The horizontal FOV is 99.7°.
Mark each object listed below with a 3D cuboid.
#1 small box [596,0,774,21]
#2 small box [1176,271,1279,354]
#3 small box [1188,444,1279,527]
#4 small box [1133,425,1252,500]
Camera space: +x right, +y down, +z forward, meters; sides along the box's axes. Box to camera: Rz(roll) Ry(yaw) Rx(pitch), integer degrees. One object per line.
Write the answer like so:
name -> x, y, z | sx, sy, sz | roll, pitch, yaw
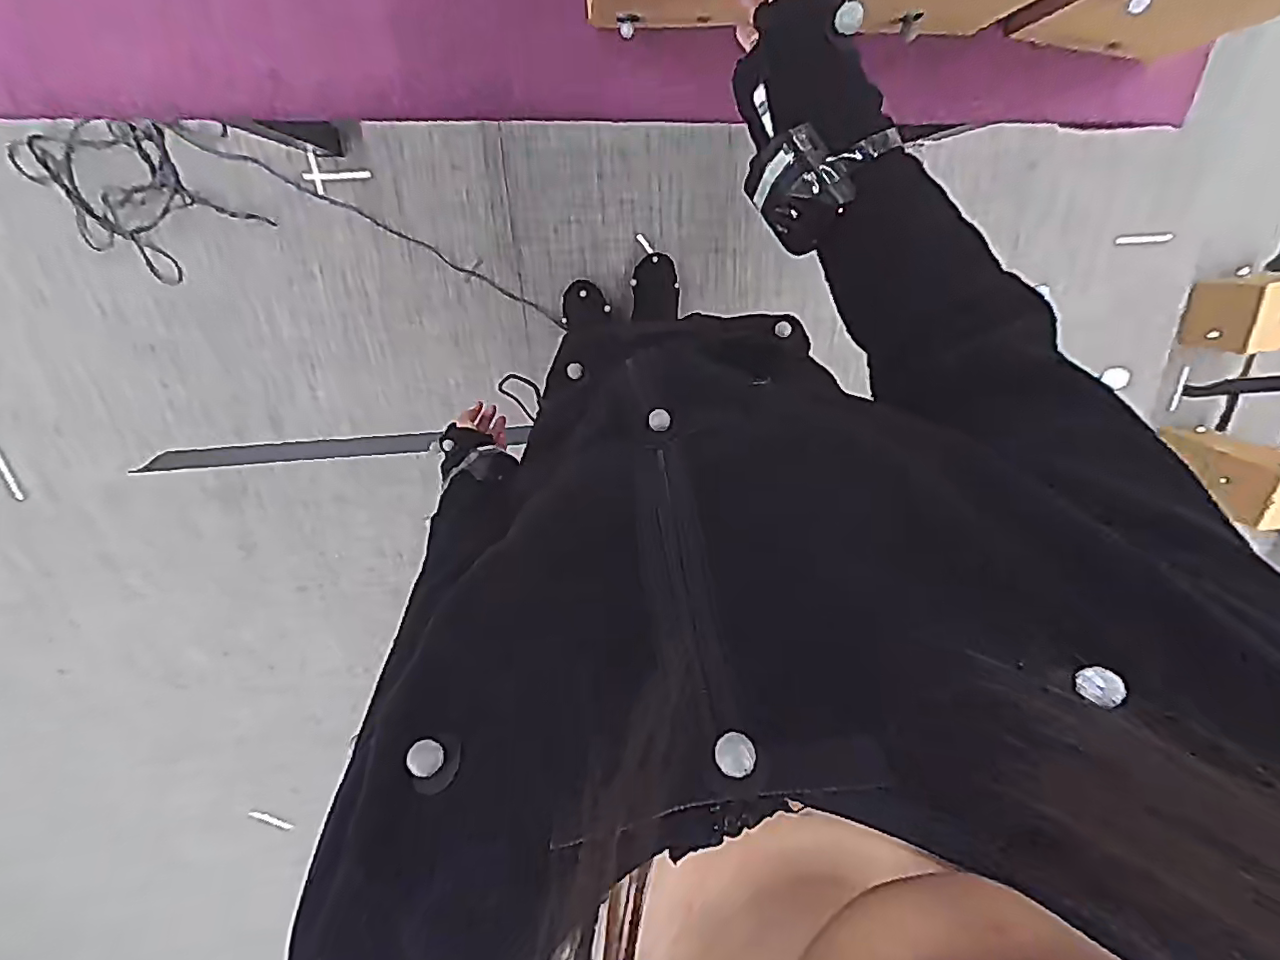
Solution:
small box -> 0.042, -0.470, 0.398 | 0.168, 0.176, 0.179 | -6, 115, -6
small box -> 1.587, -0.446, 1.428 | 0.168, 0.176, 0.179 | -11, 114, -4
small box -> 1.668, 0.010, 1.462 | 0.179, 0.176, 0.168 | -5, 115, -5
small box -> 1.635, -0.055, 1.607 | 0.168, 0.176, 0.179 | -2, 115, -7
